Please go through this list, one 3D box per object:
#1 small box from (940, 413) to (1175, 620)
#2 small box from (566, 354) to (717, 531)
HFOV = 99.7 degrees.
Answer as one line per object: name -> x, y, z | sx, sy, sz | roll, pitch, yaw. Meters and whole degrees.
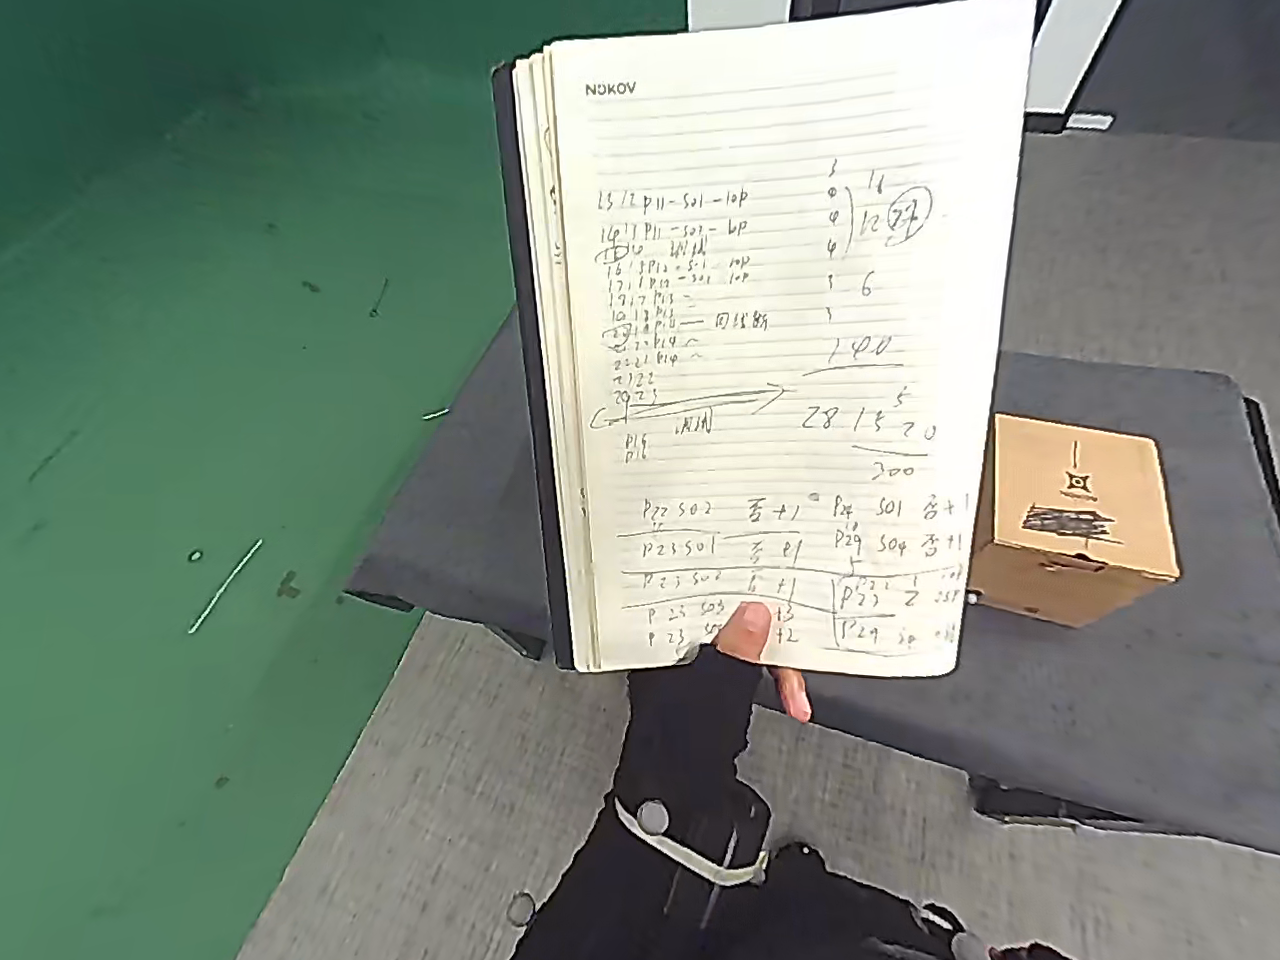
small box -> 0.483, 0.049, 0.656 | 0.168, 0.176, 0.179 | 13, 61, 14
small box -> 0.011, -0.051, 0.773 | 0.168, 0.176, 0.179 | 9, 60, 13
